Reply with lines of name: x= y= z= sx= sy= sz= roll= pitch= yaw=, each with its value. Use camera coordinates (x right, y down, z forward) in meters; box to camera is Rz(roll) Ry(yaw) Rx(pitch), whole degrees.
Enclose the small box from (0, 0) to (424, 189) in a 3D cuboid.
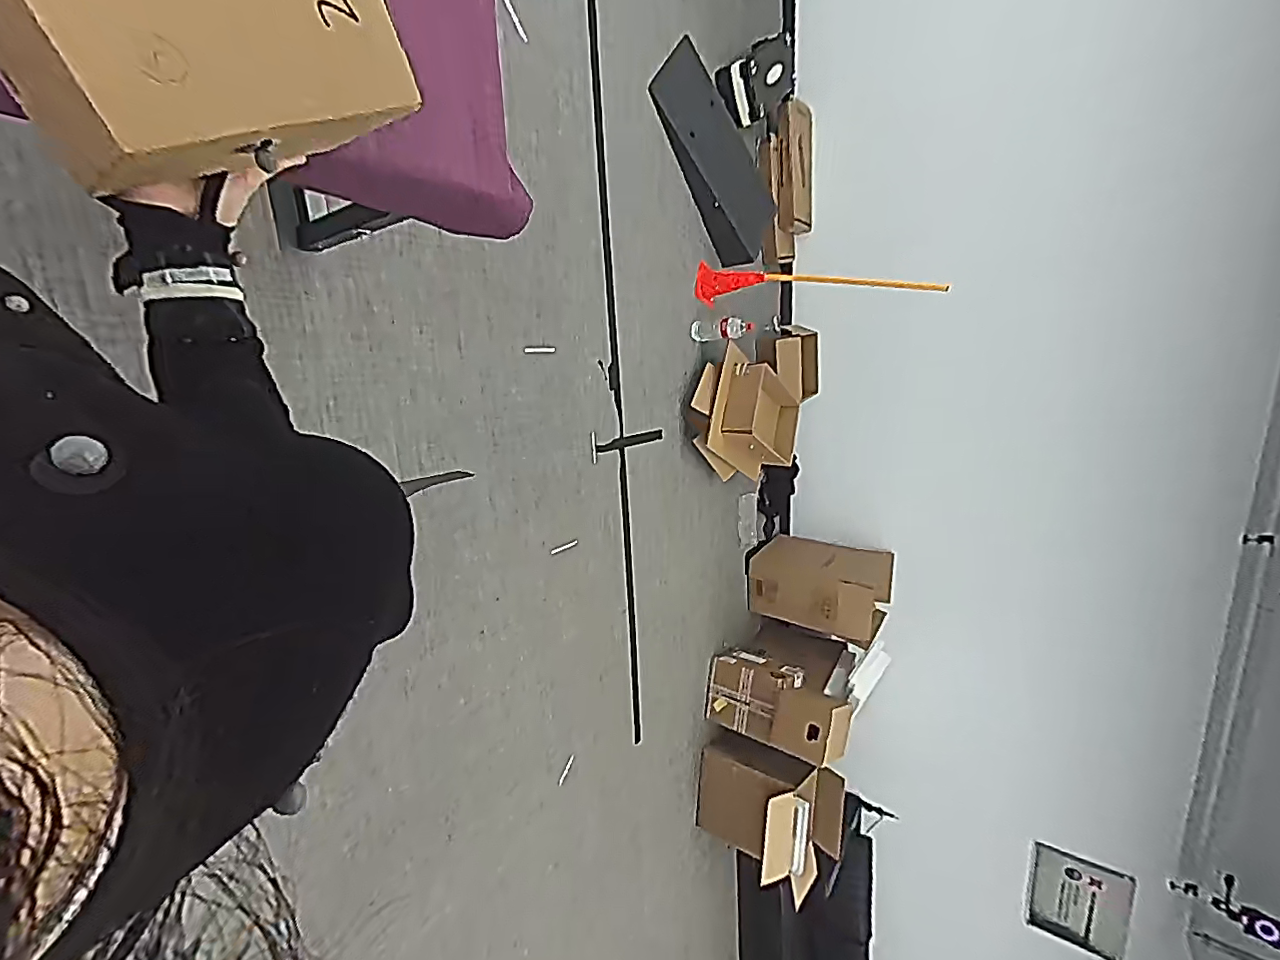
small box: x=-0.275 y=-0.289 z=0.323 sx=0.179 sy=0.176 sz=0.168 roll=-42 pitch=132 yaw=-36
